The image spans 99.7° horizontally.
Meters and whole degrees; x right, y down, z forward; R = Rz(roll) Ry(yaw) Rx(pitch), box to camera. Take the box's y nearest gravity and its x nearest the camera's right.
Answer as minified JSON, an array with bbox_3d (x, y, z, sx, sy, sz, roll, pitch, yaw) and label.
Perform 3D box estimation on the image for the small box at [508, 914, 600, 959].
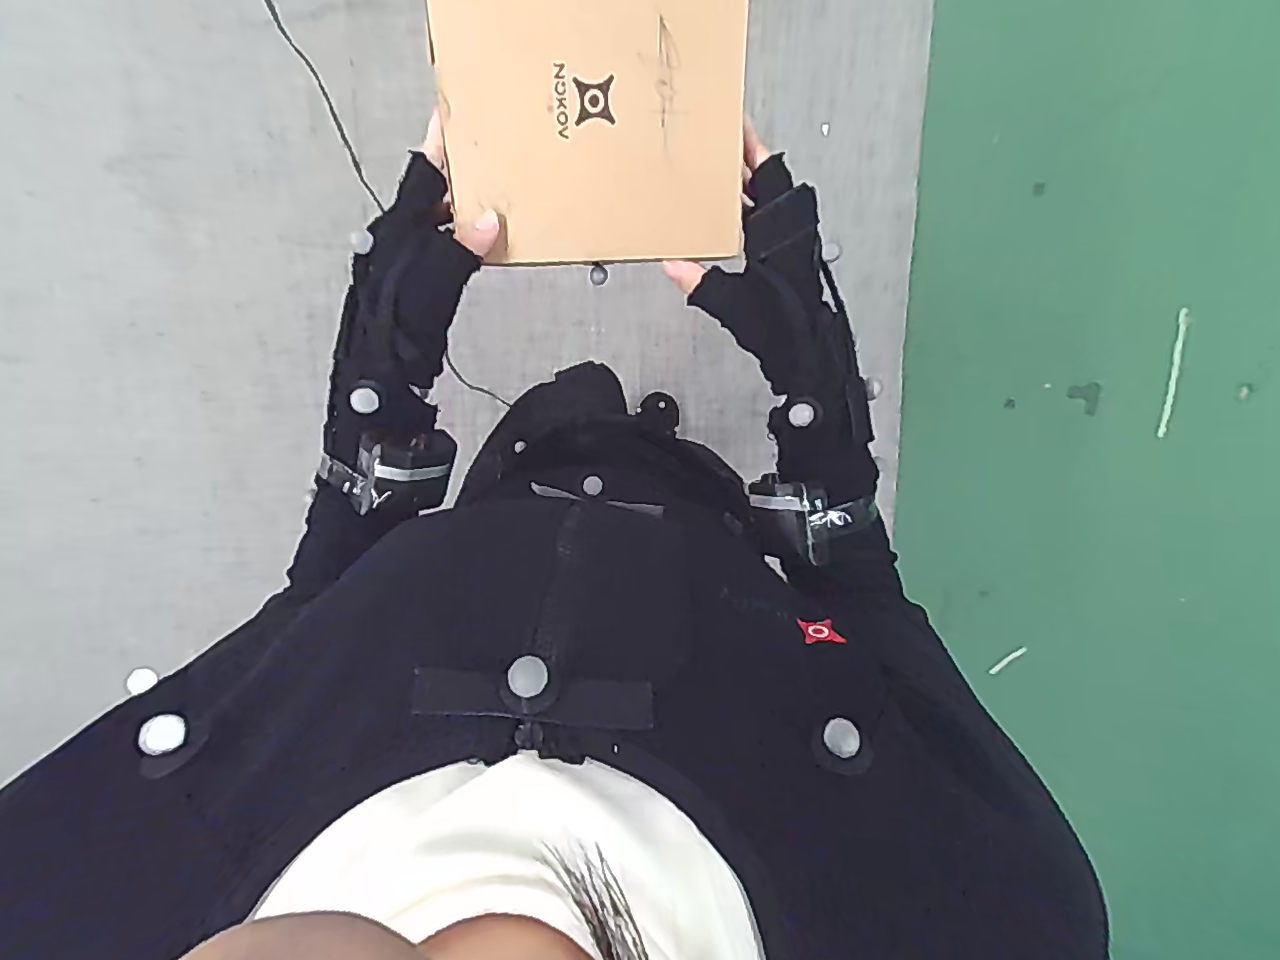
[{"bbox_3d":[-0.176,1.016,1.087,0.179,0.176,0.168,0,101,1],"label":"small box"}]

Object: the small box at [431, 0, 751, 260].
[{"bbox_3d":[-0.021,-0.246,0.380,0.179,0.176,0.168,-1,113,4],"label":"small box"}]

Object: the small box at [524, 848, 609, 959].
[{"bbox_3d":[-0.164,0.986,1.249,0.168,0.176,0.179,-3,100,2],"label":"small box"}]
